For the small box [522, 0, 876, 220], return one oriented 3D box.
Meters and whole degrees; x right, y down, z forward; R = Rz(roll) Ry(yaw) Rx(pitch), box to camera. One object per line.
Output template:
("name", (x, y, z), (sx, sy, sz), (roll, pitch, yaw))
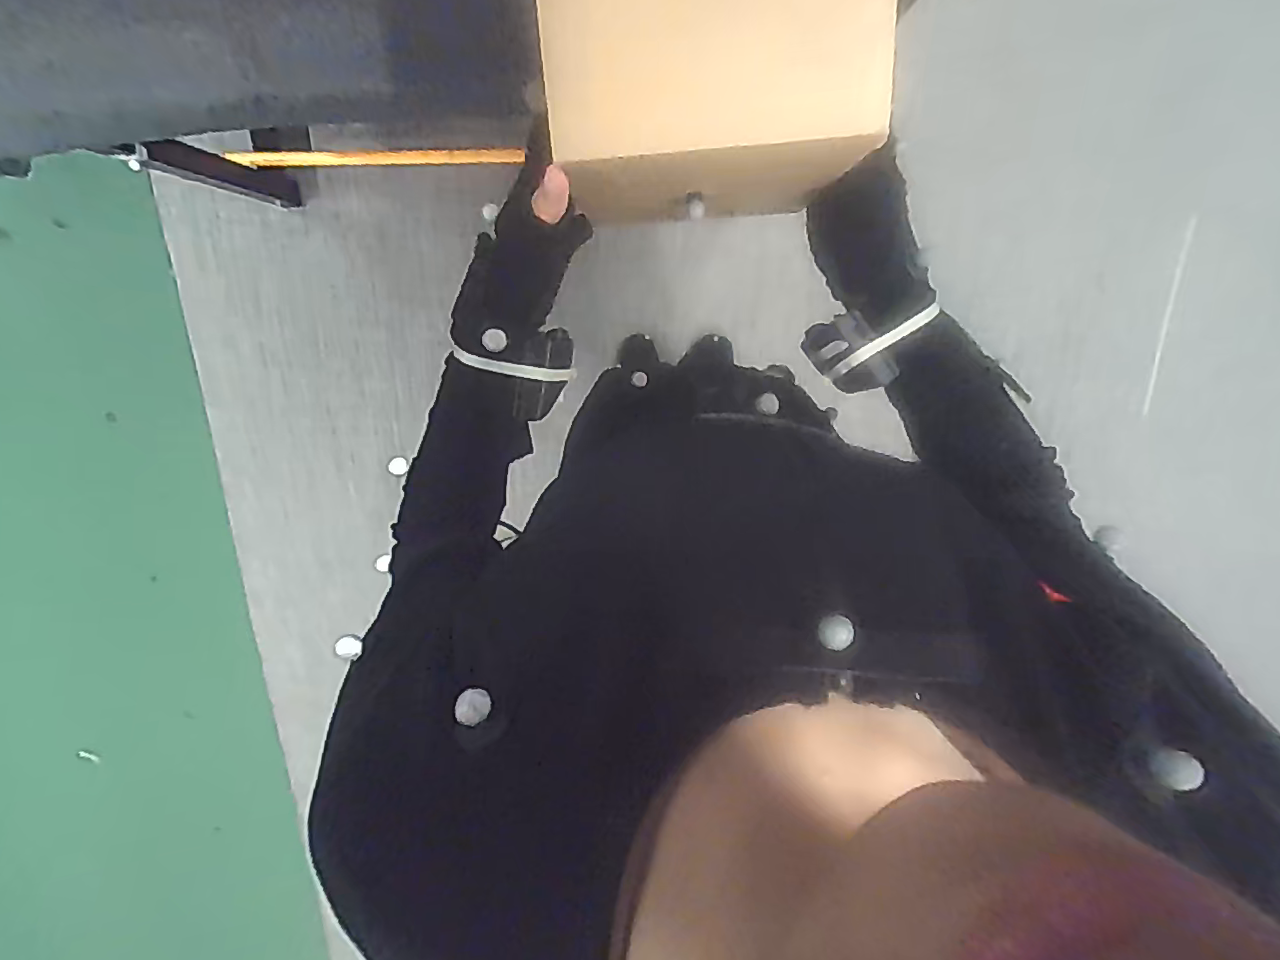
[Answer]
("small box", (0.029, -0.264, 0.320), (0.168, 0.176, 0.179), (-3, 104, 3))
